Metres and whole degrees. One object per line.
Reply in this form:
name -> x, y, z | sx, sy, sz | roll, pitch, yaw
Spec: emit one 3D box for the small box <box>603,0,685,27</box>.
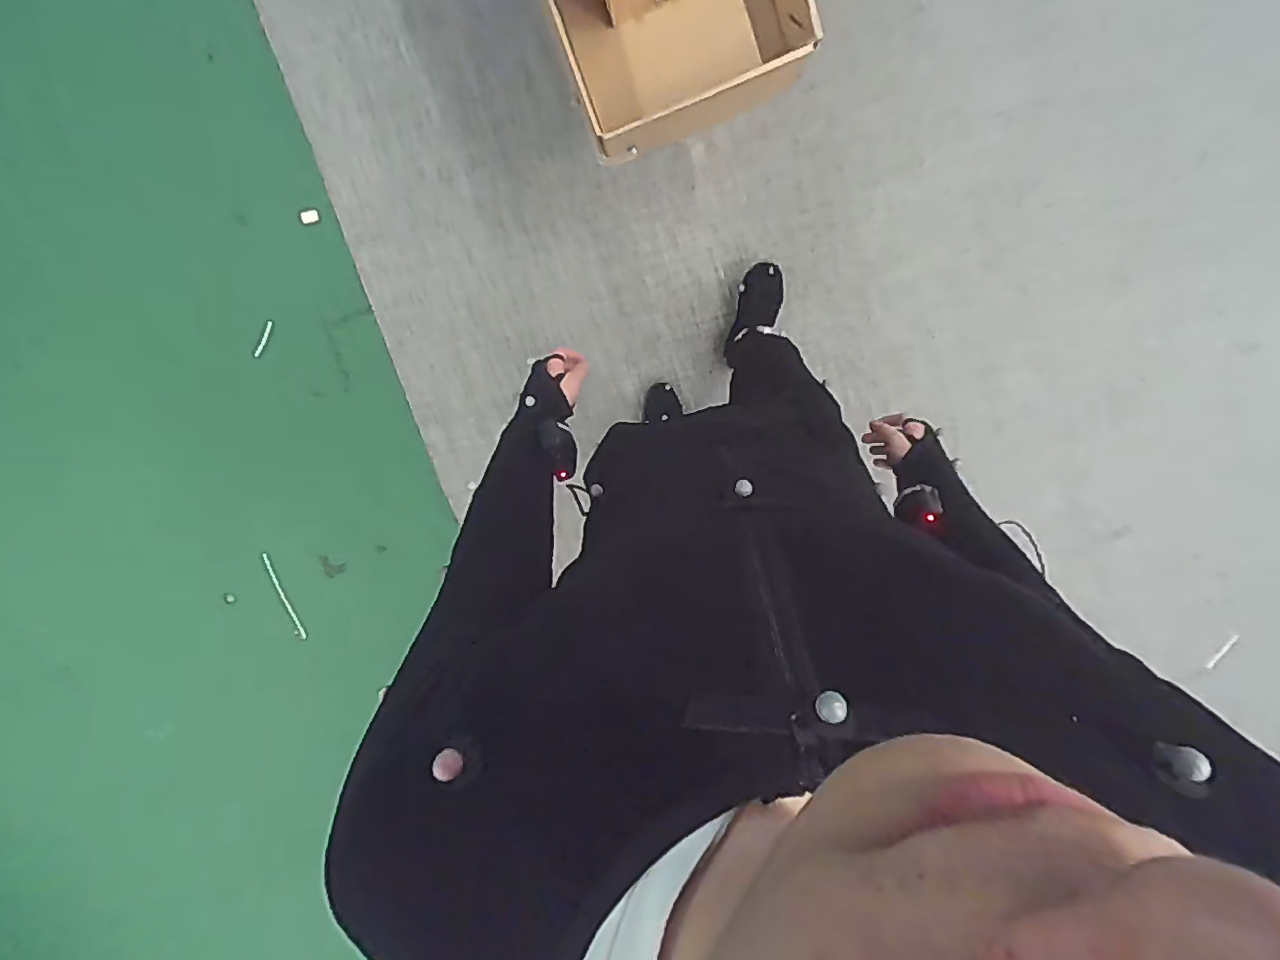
small box -> -0.006, -0.911, 0.887 | 0.168, 0.176, 0.179 | -19, 102, 7
